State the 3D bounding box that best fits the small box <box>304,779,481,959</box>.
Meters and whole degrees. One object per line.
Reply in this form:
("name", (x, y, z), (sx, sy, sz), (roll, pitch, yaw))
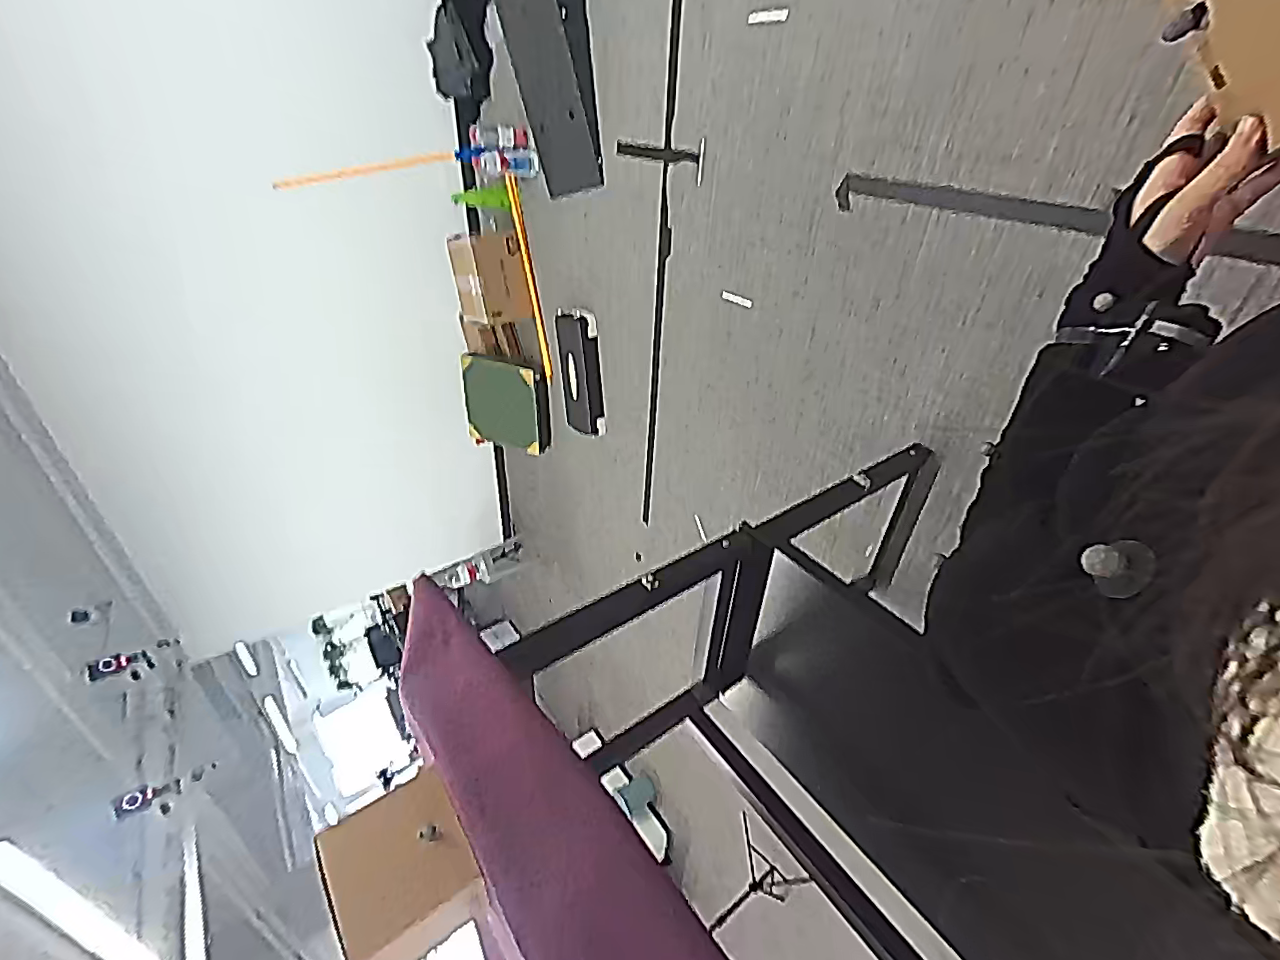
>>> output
("small box", (-0.336, 0.554, 0.752), (0.179, 0.176, 0.168), (43, 141, 36))
